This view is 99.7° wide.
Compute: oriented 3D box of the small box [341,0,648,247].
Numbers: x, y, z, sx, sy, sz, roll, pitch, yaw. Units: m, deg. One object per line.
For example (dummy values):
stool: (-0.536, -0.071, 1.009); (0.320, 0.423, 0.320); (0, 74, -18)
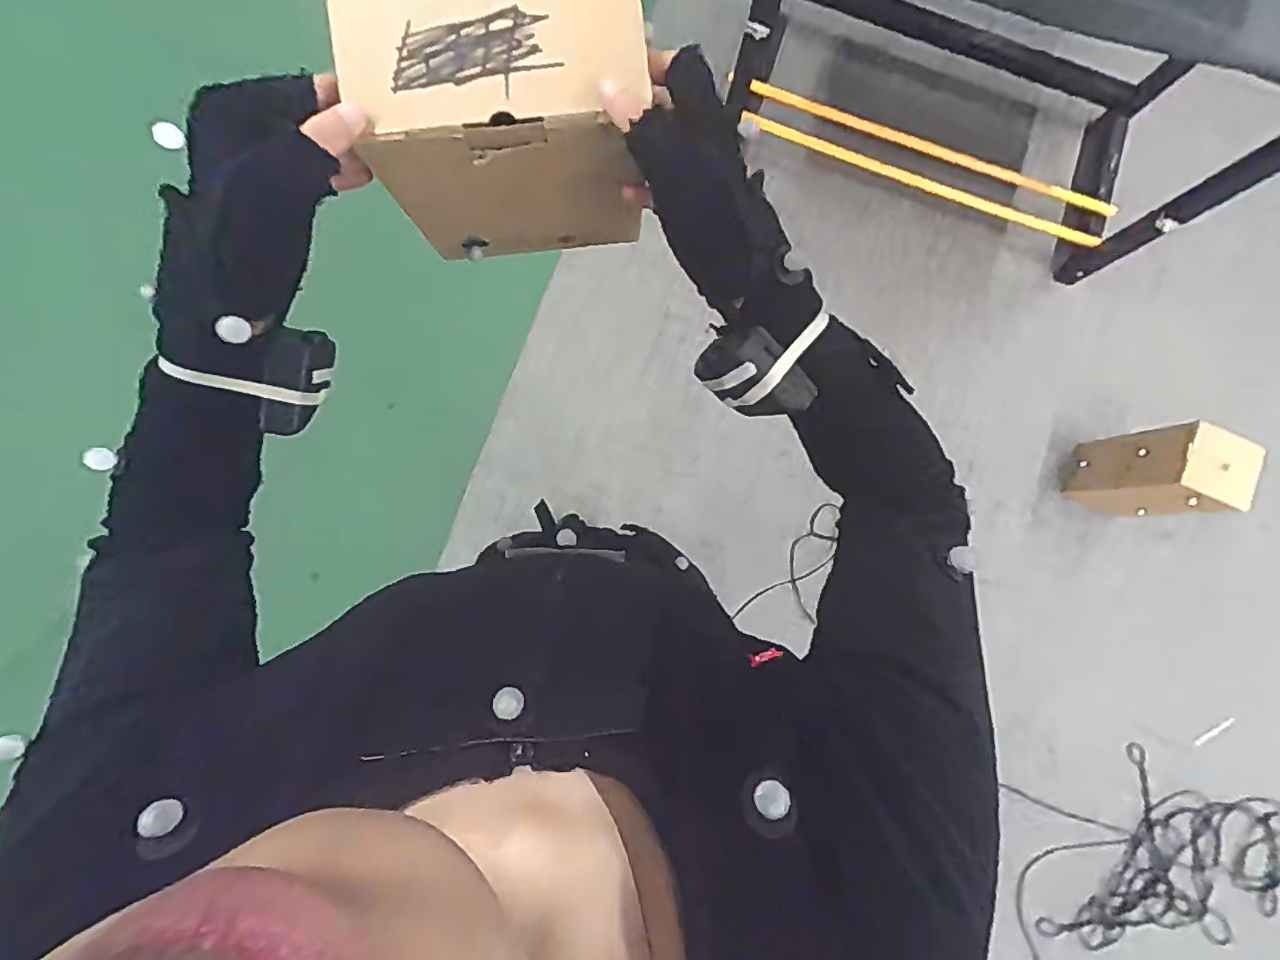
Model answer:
small box: (-0.085, -0.279, 0.377); (0.168, 0.176, 0.179); (-7, 91, -3)

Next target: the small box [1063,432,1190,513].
small box: (1.349, -0.014, 1.509); (0.179, 0.176, 0.168); (24, 83, 0)
